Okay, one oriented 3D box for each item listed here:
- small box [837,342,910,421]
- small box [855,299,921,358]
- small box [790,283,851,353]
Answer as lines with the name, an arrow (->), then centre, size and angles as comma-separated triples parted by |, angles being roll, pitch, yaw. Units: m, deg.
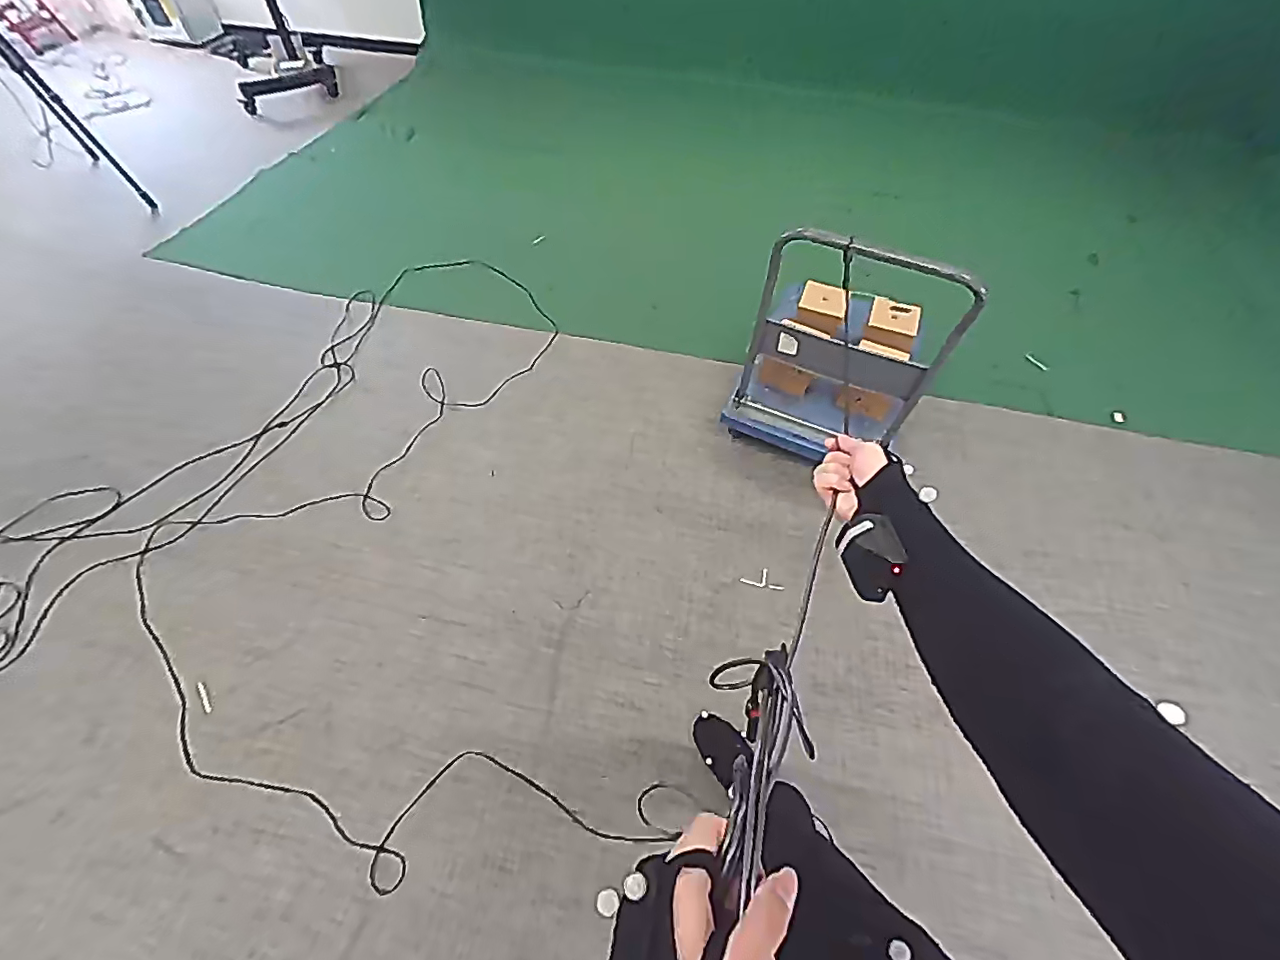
small box -> 0.793, -0.335, 1.849 | 0.168, 0.176, 0.179 | 23, 57, 14
small box -> 0.911, -0.531, 1.994 | 0.168, 0.176, 0.179 | 18, 56, 13
small box -> 0.678, -0.609, 2.046 | 0.168, 0.176, 0.179 | 19, 55, 11
